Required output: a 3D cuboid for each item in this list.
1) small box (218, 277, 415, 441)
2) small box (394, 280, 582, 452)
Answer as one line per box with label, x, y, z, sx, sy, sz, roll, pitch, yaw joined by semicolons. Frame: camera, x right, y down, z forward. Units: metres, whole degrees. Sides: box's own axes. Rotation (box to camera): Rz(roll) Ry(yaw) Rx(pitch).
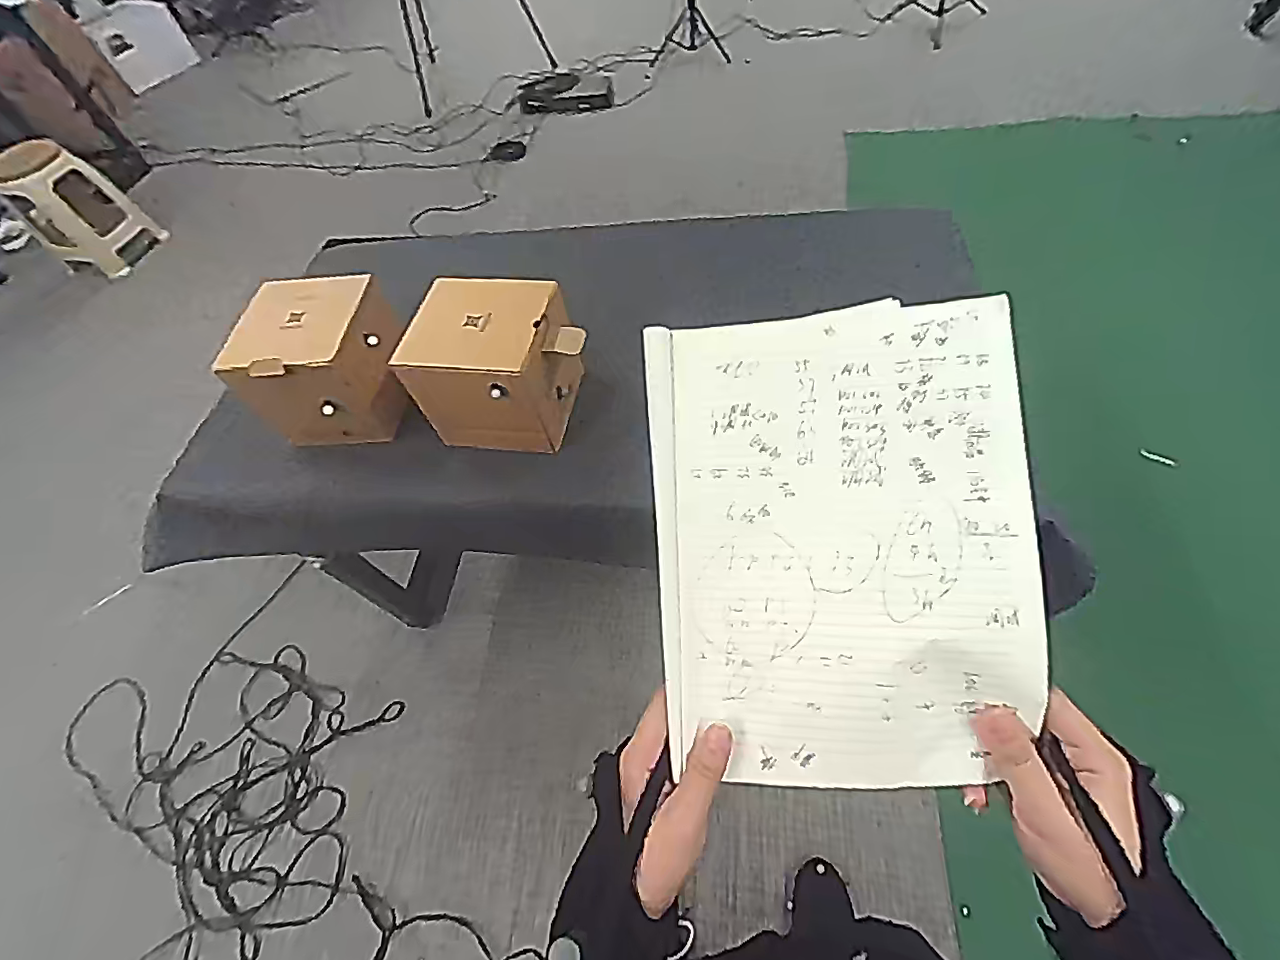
small box;-0.450;-0.168;0.794;0.168;0.176;0.179;-2;56;5
small box;-0.194;-0.154;0.750;0.179;0.176;0.168;5;58;11
